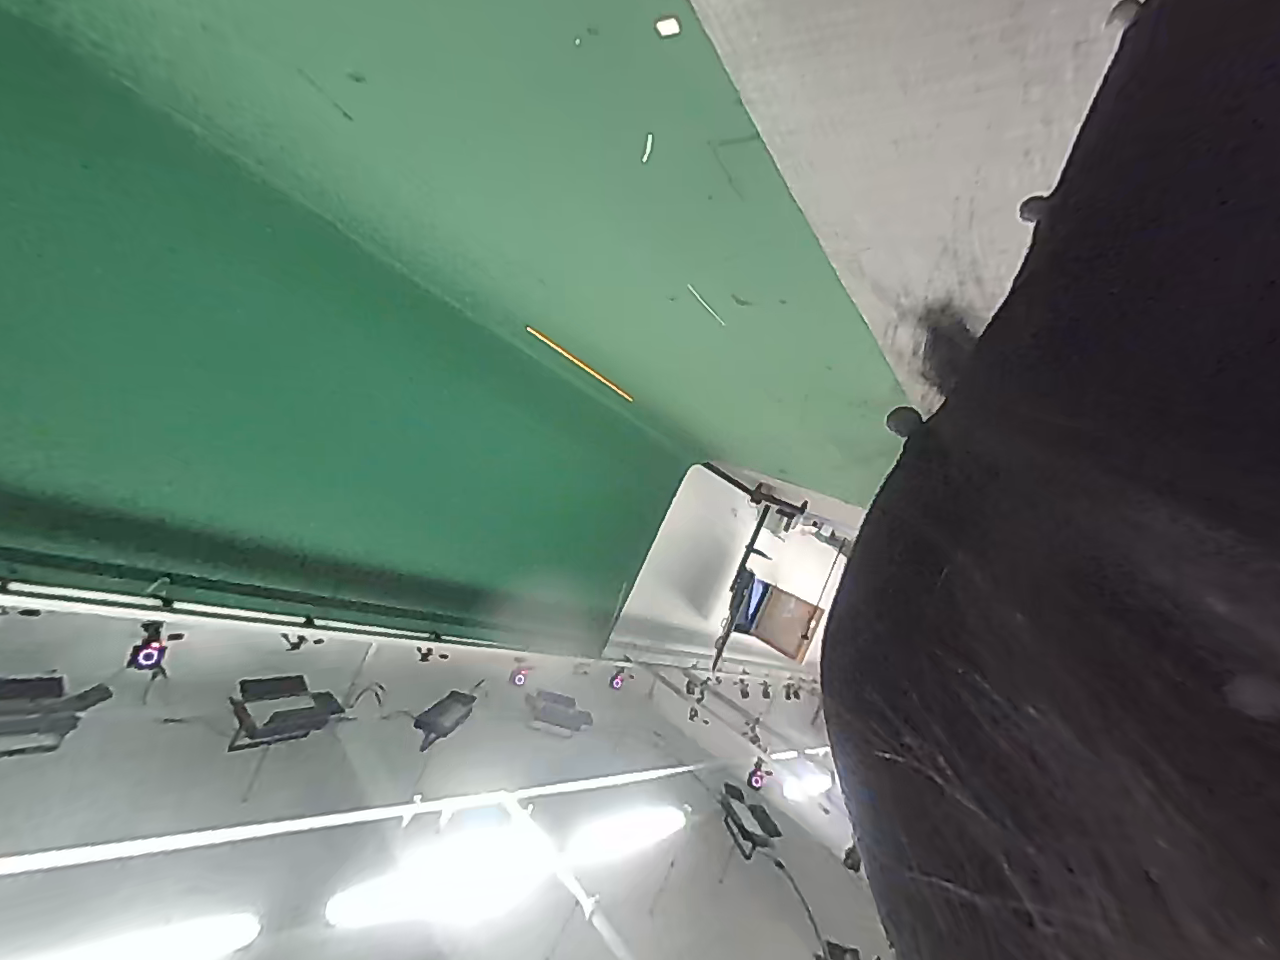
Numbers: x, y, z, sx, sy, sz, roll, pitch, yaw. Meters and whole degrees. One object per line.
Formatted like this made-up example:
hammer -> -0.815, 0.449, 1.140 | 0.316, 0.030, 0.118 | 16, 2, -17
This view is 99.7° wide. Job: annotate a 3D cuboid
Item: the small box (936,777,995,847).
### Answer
small box -> 1.350, 1.368, 2.243 | 0.168, 0.176, 0.179 | 22, 175, 34
